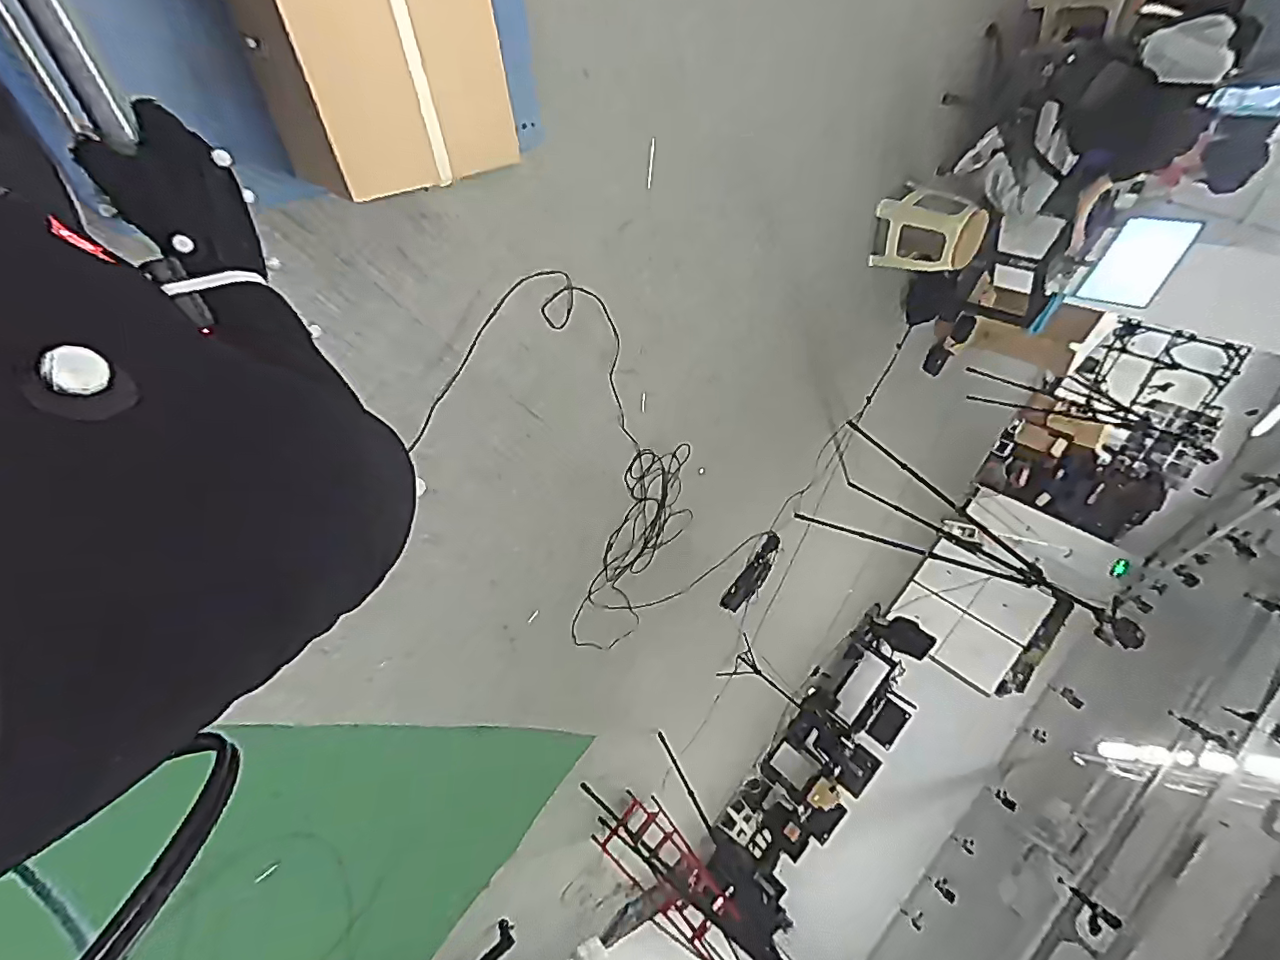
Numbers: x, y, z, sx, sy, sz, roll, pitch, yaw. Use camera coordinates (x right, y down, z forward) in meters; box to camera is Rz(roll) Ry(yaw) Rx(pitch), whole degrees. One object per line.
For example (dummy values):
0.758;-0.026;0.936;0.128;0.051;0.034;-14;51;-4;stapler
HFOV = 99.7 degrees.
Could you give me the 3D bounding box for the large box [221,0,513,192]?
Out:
-0.456;-0.735;0.870;0.320;0.320;0.408;-33;137;-27;large box
